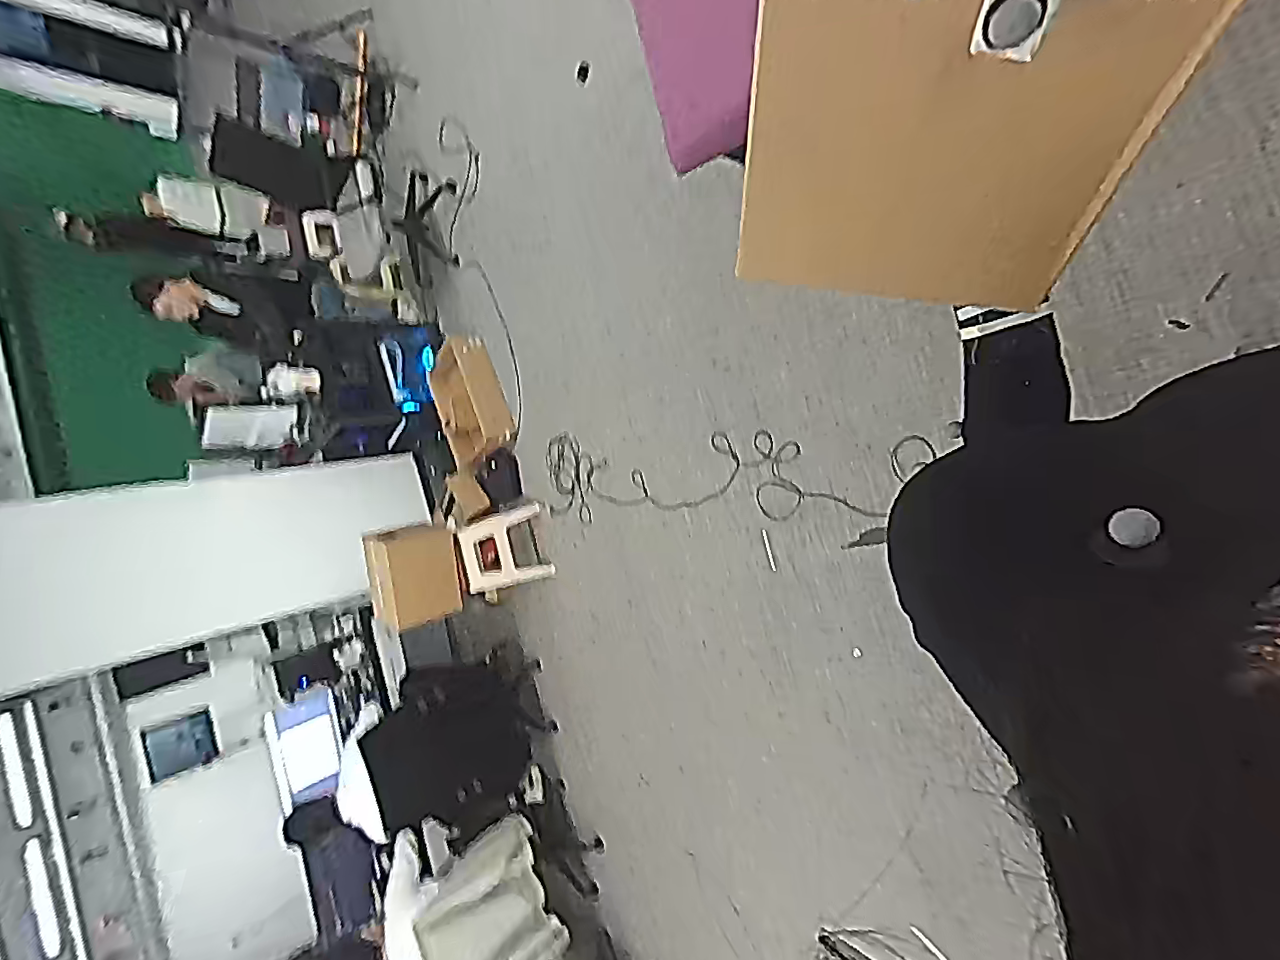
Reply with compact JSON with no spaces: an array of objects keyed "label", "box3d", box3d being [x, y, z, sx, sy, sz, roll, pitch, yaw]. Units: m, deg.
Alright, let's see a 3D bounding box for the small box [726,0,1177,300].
[{"label":"small box","box3d":[0.146,-0.226,0.286,0.168,0.179,0.176,11,146,15]}]
